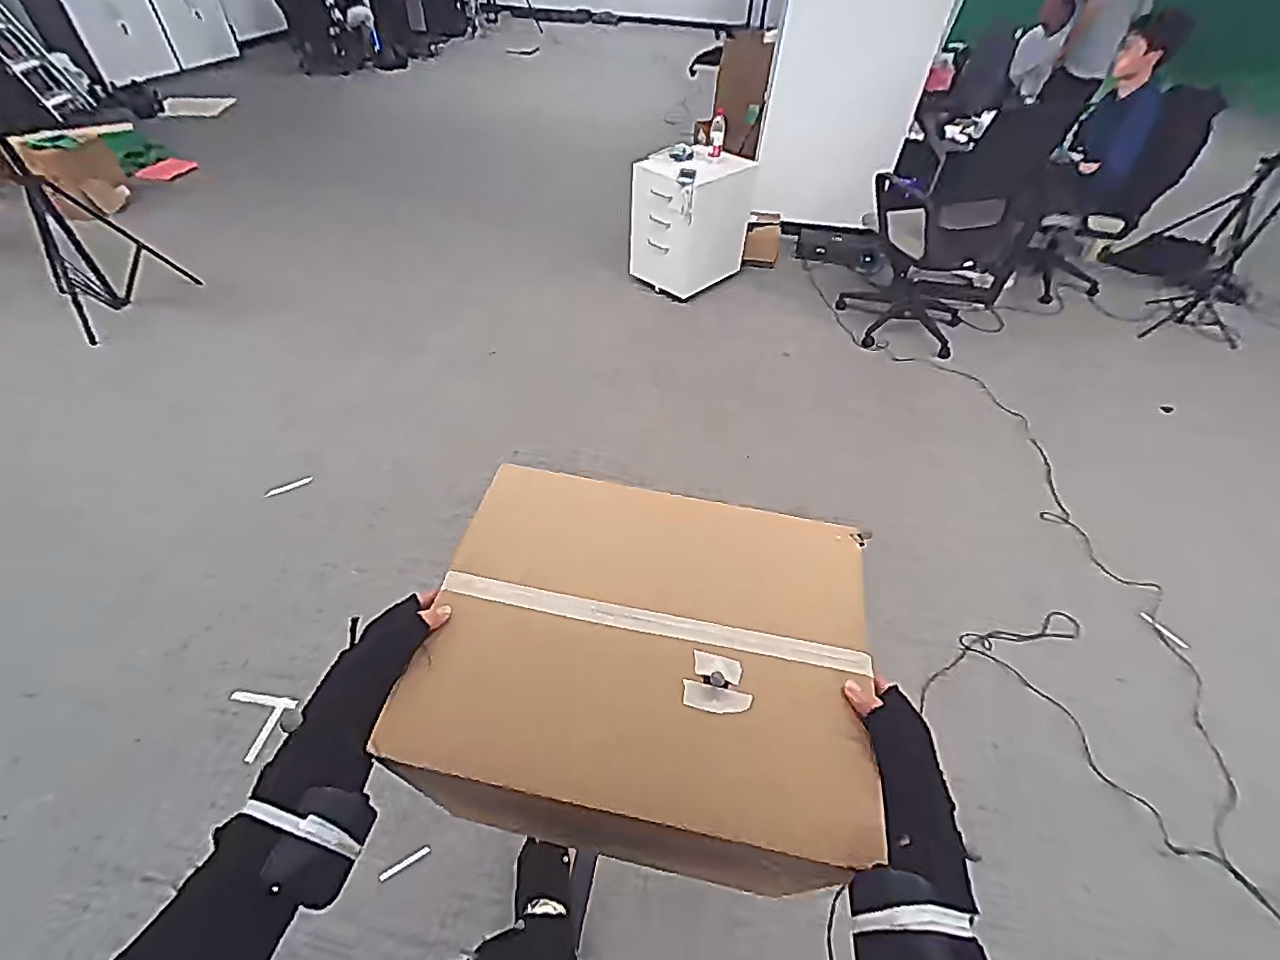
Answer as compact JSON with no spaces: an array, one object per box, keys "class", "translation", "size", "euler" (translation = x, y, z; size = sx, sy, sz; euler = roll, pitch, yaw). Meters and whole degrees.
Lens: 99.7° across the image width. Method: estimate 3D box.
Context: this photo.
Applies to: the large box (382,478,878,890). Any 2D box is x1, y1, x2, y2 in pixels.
[{"class":"large box","translation":[0.001,0.238,0.627],"size":[0.408,0.320,0.320],"euler":[11,51,4]}]
